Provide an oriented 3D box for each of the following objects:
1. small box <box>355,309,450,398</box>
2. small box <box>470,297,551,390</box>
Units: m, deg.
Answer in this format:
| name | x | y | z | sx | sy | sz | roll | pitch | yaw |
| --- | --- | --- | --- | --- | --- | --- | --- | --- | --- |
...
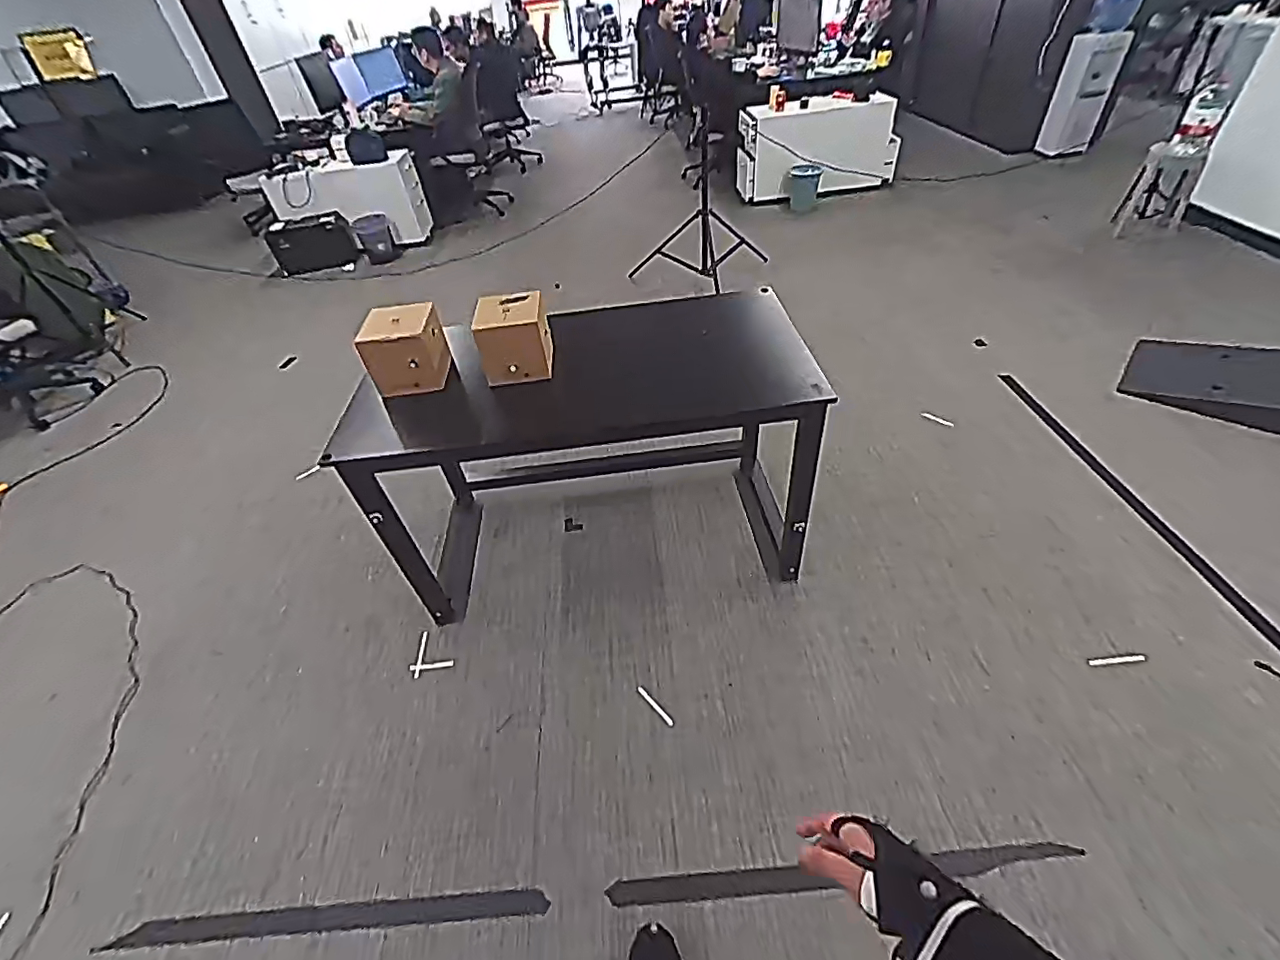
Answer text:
| name | x | y | z | sx | sy | sz | roll | pitch | yaw |
| --- | --- | --- | --- | --- | --- | --- | --- | --- | --- |
| small box | -0.618 | -0.330 | 1.432 | 0.168 | 0.176 | 0.179 | -7 | 43 | -2 |
| small box | -0.333 | -0.360 | 1.426 | 0.168 | 0.176 | 0.179 | -8 | 44 | 0 |
